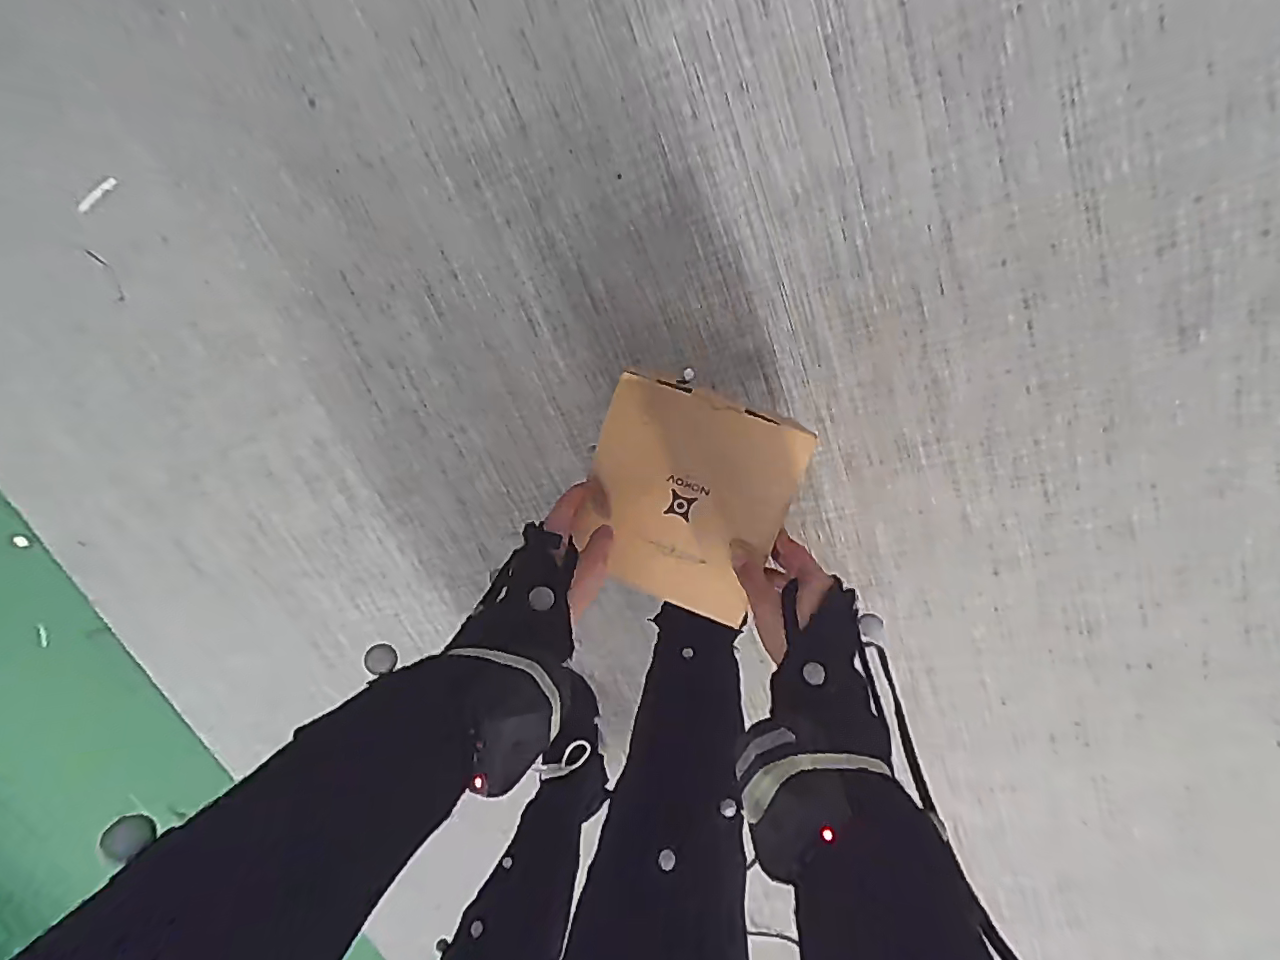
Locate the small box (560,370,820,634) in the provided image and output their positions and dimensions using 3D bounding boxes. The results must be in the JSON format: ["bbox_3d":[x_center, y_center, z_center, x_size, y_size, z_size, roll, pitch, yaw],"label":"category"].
[{"bbox_3d":[0.047,0.006,0.510,0.168,0.176,0.179,20,103,6],"label":"small box"}]
